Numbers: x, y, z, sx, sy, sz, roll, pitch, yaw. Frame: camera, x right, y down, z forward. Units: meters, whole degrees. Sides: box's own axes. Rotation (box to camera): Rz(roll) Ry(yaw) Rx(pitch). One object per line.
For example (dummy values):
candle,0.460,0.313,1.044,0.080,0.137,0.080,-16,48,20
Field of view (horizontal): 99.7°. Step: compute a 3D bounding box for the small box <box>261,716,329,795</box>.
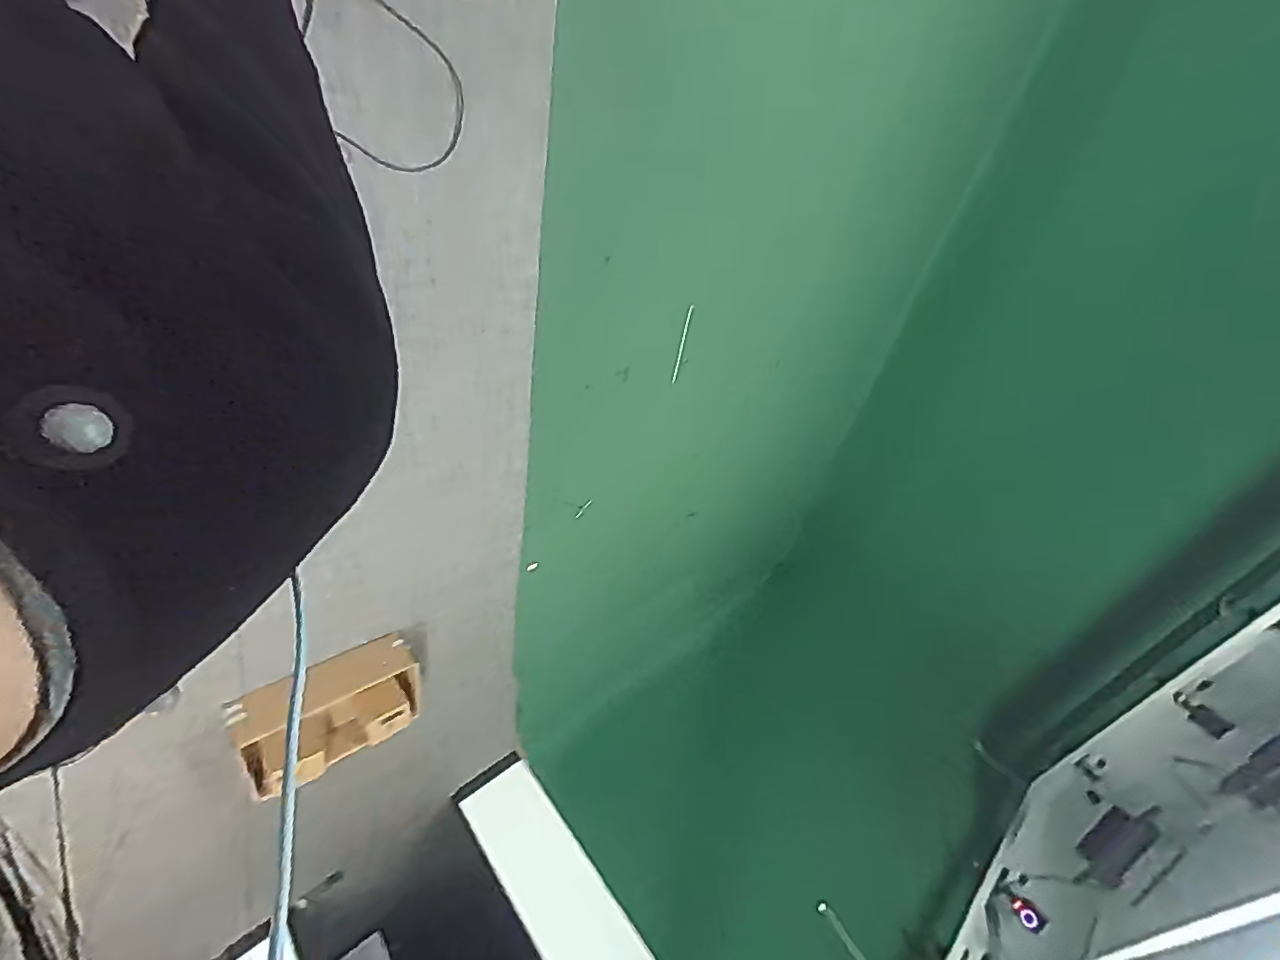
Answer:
small box,-1.311,1.037,2.054,0.179,0.176,0.168,-13,132,-45
